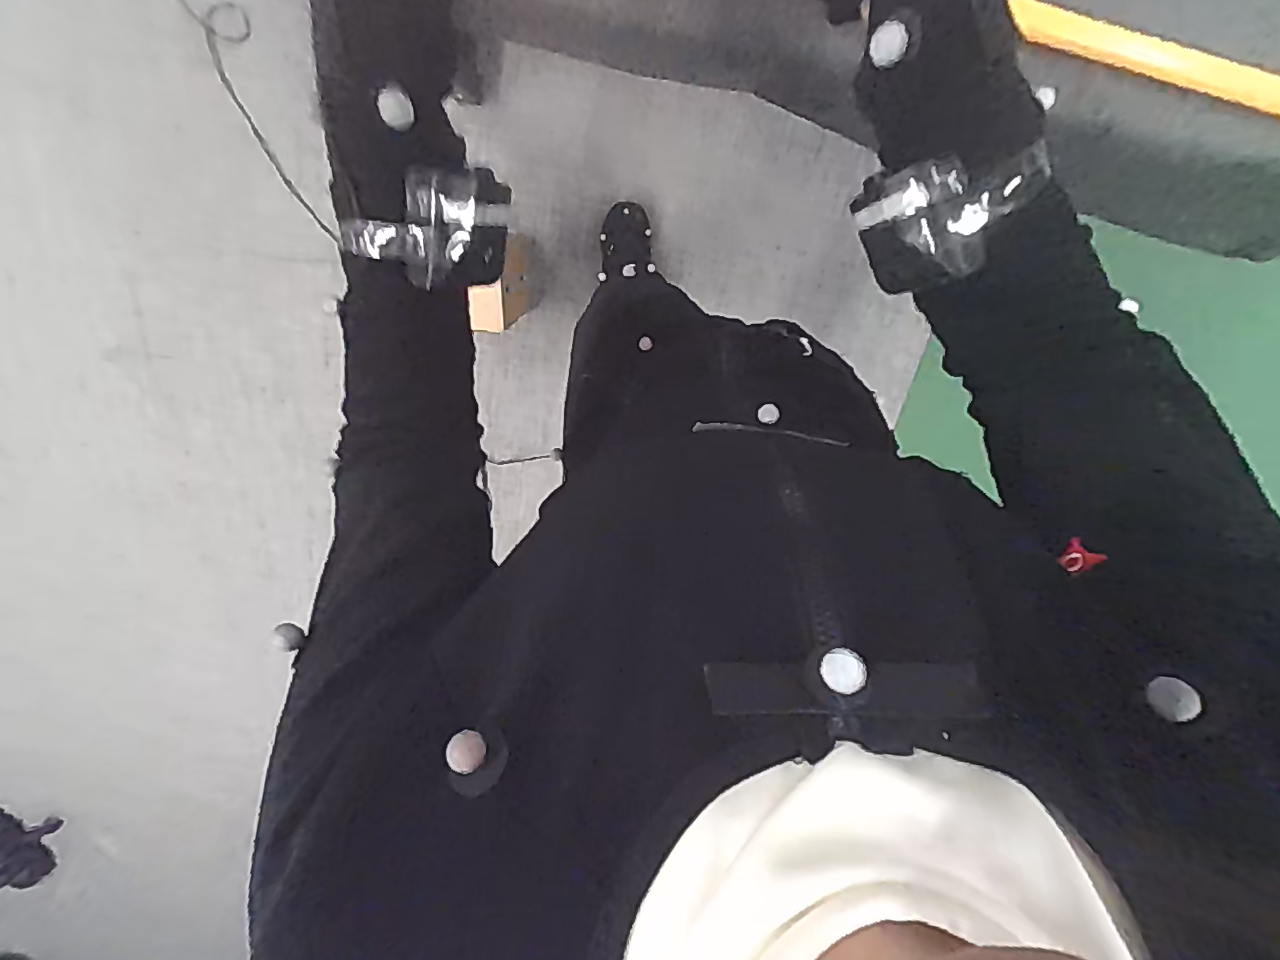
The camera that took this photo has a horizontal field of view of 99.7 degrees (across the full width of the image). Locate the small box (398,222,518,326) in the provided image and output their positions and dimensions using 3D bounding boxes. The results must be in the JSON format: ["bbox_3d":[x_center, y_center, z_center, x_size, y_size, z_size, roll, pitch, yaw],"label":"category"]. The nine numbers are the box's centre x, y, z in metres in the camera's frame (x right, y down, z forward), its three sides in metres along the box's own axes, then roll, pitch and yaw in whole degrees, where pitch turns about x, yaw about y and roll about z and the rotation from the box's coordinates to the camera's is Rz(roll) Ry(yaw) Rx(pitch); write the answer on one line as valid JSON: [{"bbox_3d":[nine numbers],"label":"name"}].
[{"bbox_3d":[-0.338,-0.398,1.041,0.168,0.176,0.179,0,113,0],"label":"small box"}]
